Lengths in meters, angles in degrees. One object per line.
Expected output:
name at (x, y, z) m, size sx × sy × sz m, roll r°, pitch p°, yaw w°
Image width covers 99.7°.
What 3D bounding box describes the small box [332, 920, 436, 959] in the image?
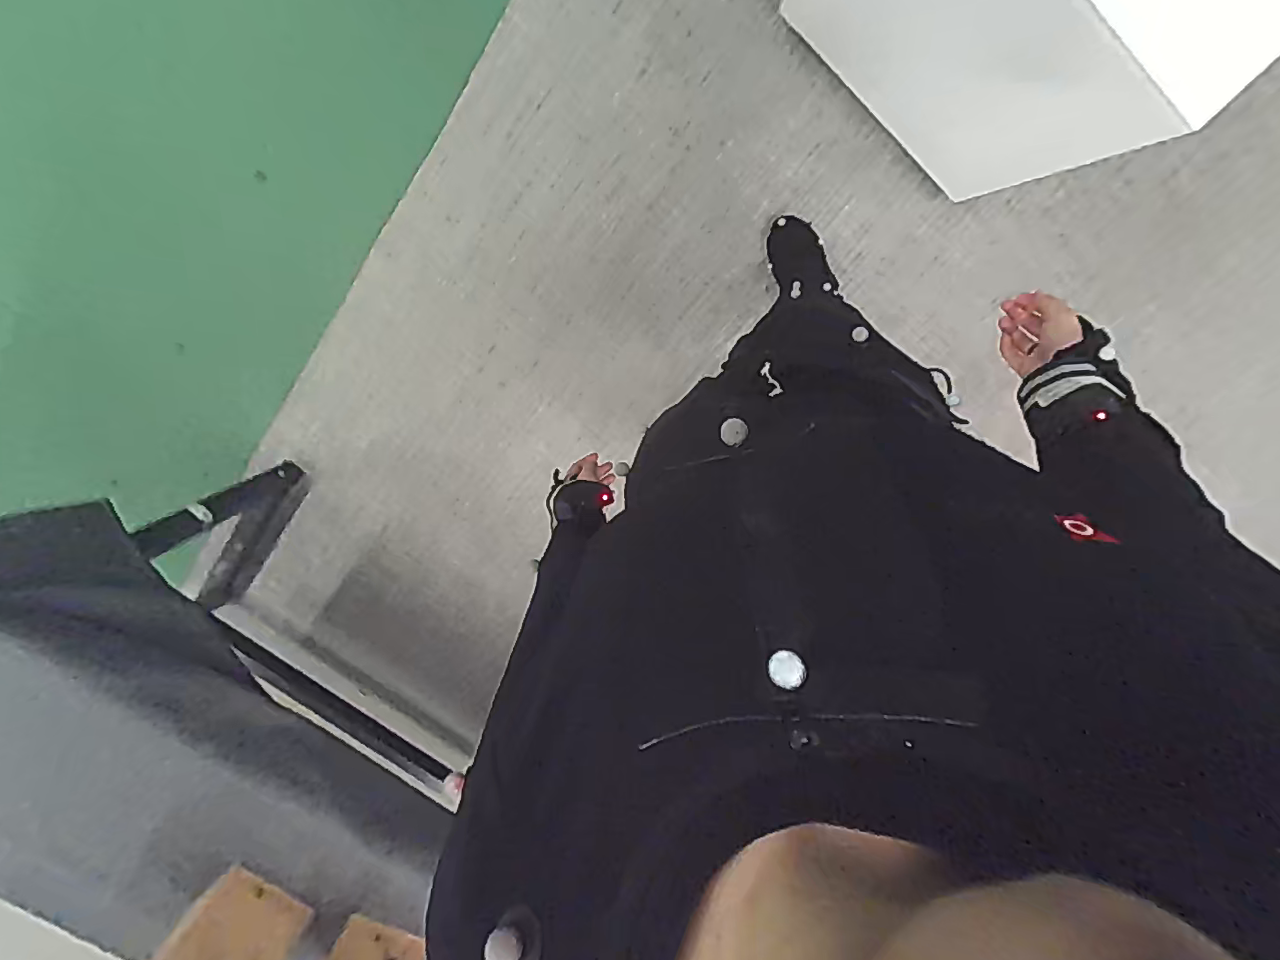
small box at (-0.465, 0.894, 0.900) m, size 0.168 × 0.176 × 0.179 m, roll 24°, pitch 110°, yaw -3°
